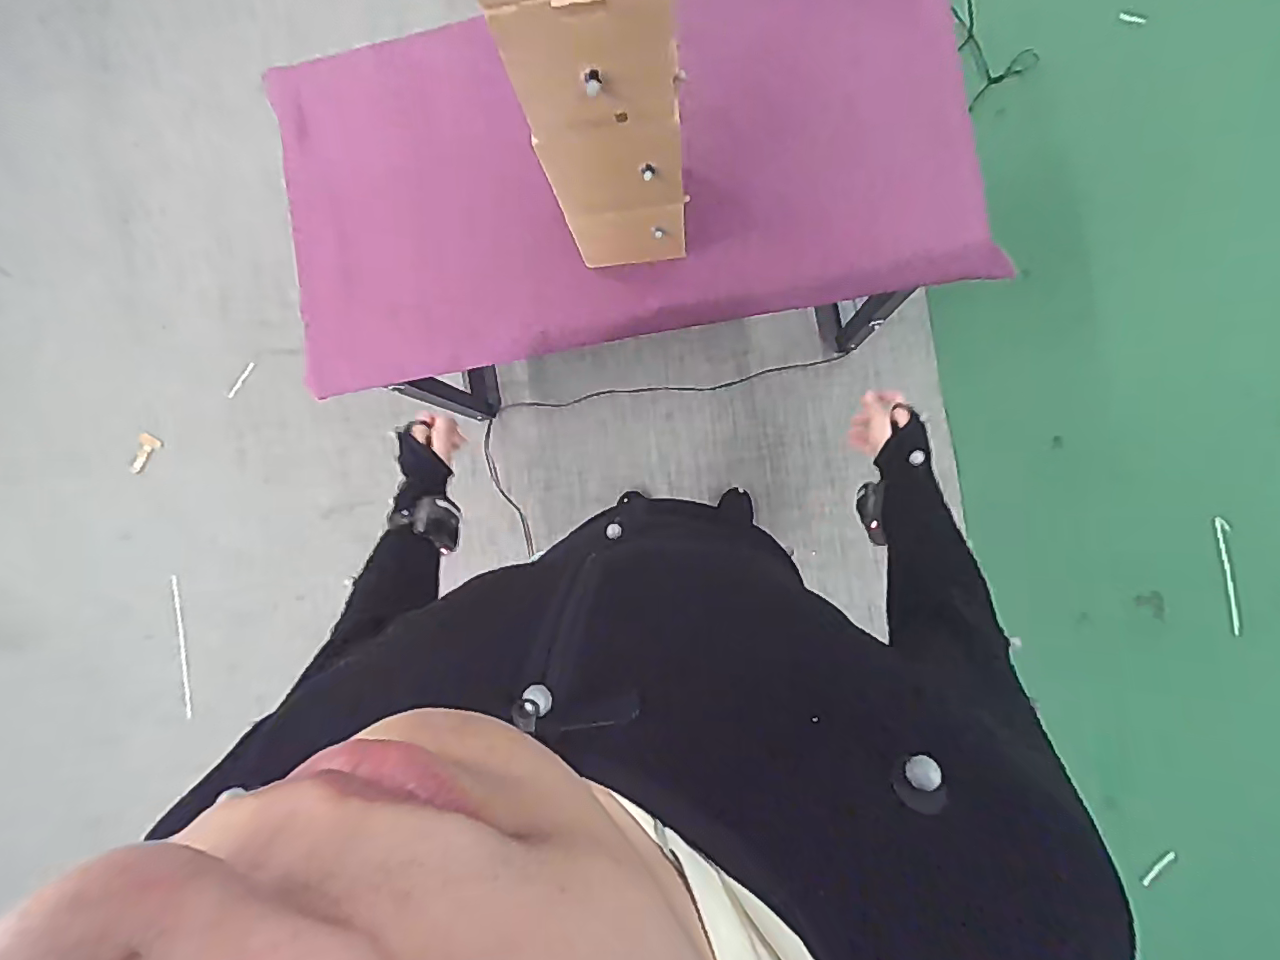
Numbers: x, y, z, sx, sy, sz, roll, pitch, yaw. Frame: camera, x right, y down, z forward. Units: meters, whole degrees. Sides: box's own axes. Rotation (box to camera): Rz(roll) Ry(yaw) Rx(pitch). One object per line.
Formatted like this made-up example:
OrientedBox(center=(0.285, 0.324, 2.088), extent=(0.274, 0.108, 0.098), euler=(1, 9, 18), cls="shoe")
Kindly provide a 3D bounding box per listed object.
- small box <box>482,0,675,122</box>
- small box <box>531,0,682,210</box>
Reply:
OrientedBox(center=(-0.054, -0.495, 0.544), extent=(0.168, 0.176, 0.179), euler=(-5, 87, 5), cls="small box")
OrientedBox(center=(-0.037, -0.481, 0.705), extent=(0.179, 0.176, 0.168), euler=(-4, 87, 6), cls="small box")
